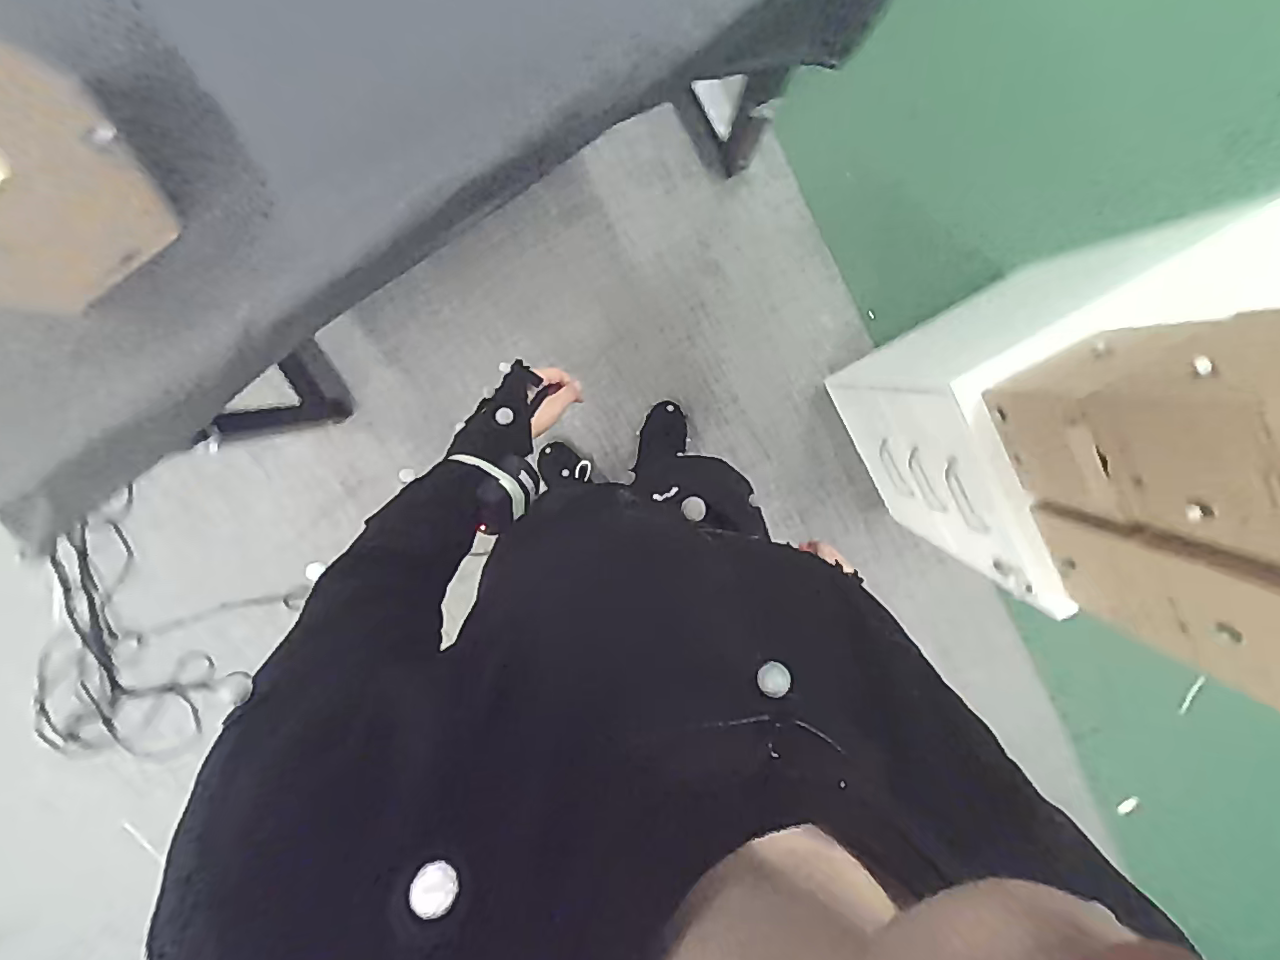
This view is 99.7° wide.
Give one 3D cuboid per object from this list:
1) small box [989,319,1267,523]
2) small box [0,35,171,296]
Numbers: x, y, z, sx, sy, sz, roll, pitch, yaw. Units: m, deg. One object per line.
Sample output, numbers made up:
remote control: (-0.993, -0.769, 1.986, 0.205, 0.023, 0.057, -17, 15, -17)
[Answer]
small box: (0.570, -0.074, 0.662, 0.179, 0.176, 0.168, -29, 100, 5)
small box: (-0.605, -0.293, 0.491, 0.168, 0.176, 0.179, -31, 99, 6)
